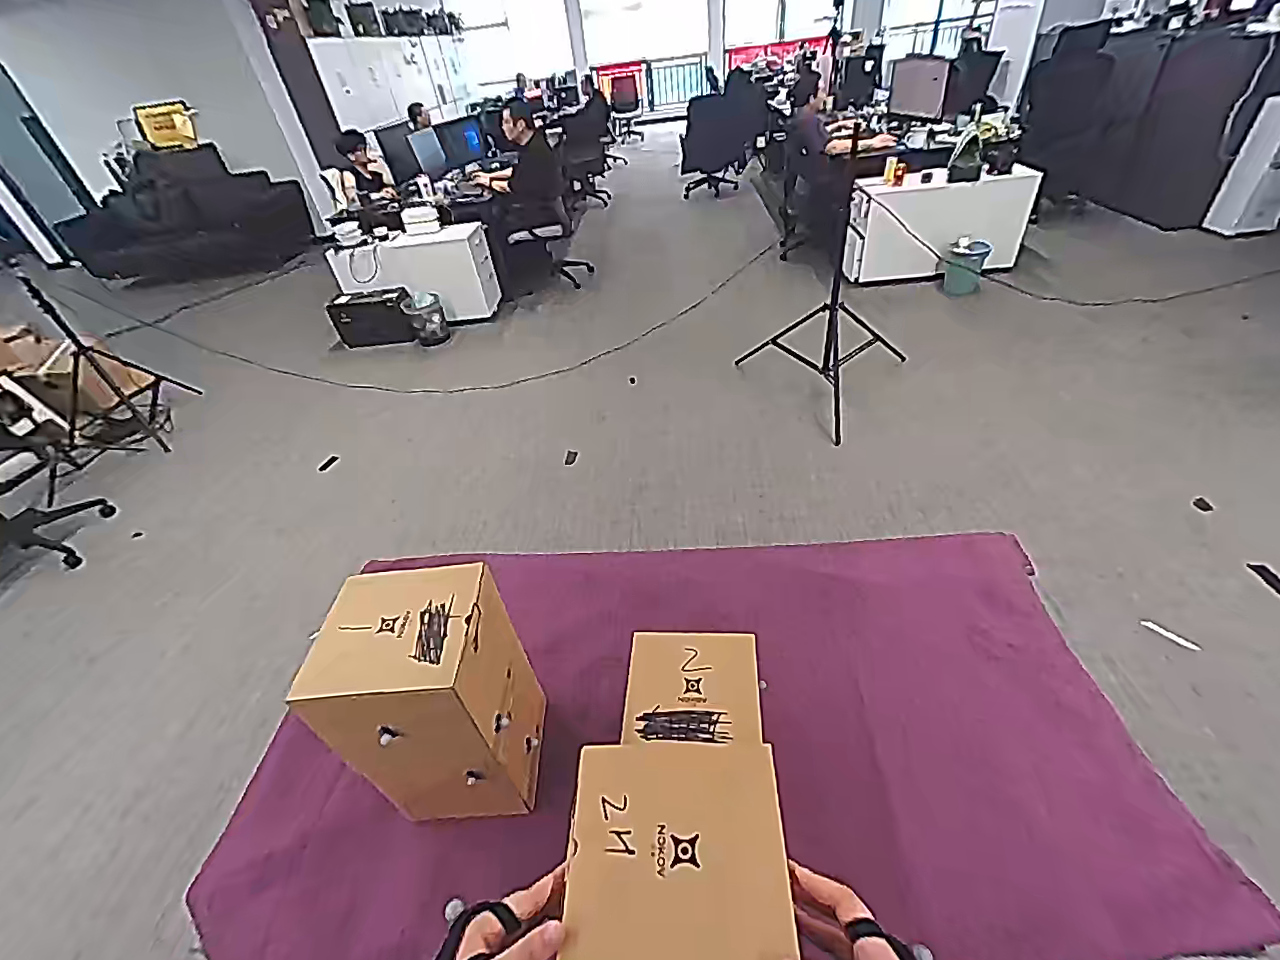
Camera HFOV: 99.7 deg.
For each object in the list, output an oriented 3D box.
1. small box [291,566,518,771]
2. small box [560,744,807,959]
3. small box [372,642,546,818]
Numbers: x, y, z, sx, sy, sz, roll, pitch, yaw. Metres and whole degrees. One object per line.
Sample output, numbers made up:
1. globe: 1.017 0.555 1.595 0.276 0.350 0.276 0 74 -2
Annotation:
1. small box: -0.257 0.225 0.646 0.179 0.176 0.168 -6 39 3
2. small box: 0.042 0.356 0.482 0.179 0.176 0.168 -4 39 7
3. small box: -0.242 0.350 0.753 0.179 0.176 0.168 -5 39 2
